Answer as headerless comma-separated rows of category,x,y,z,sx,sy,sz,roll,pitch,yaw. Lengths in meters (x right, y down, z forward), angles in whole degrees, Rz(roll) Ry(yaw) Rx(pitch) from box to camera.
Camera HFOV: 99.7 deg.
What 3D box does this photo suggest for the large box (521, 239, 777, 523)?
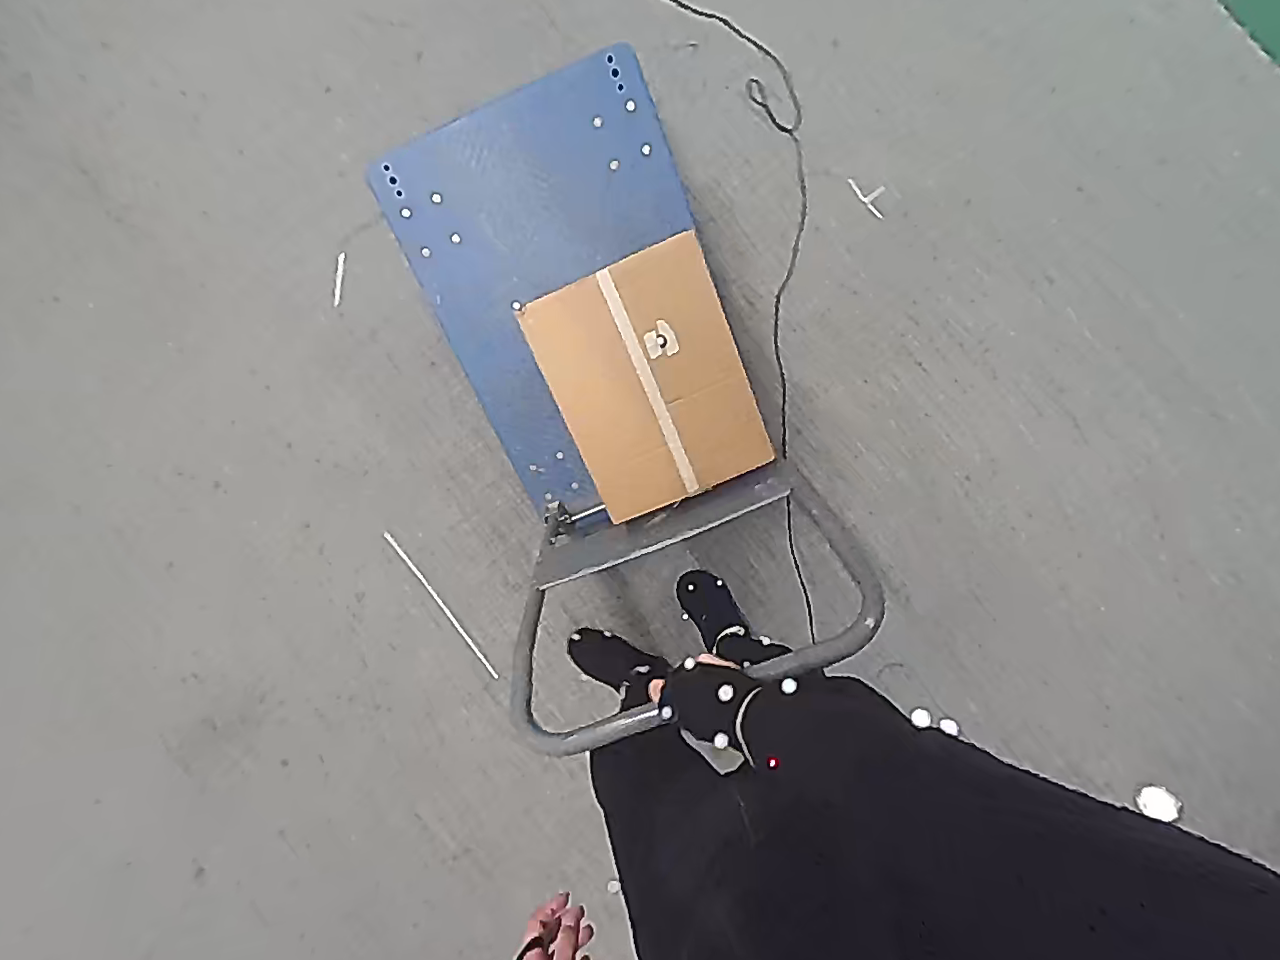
large box,0.025,-0.191,1.060,0.320,0.320,0.408,-24,105,6
